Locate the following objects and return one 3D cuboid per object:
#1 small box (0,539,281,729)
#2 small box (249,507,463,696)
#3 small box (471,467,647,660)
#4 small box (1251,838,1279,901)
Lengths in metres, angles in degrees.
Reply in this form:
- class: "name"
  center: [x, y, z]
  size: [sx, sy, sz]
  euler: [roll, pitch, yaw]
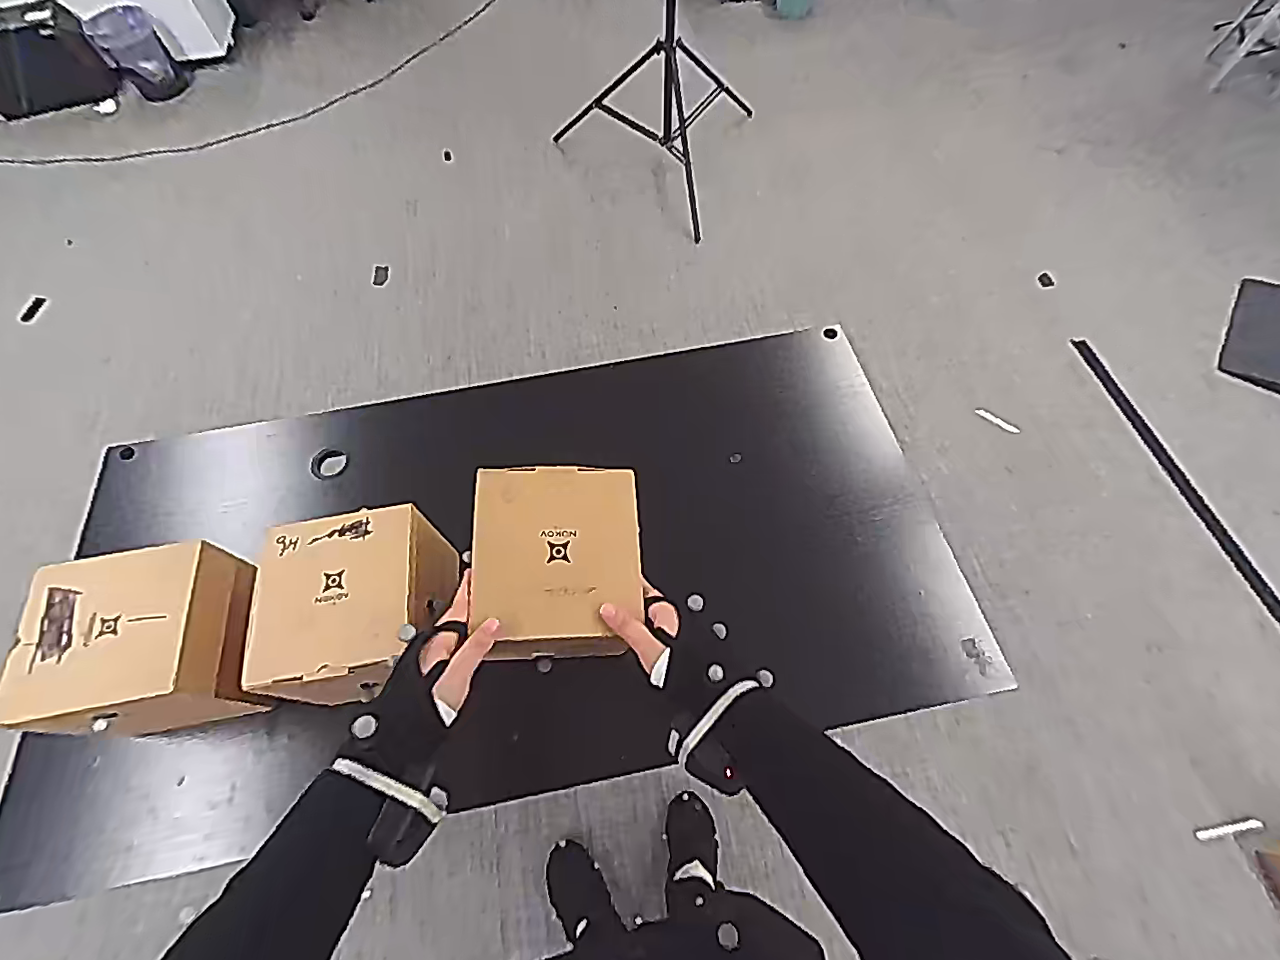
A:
- class: "small box"
  center: [-0.550, 0.188, 0.636]
  size: [0.179, 0.176, 0.168]
  euler: [-10, 63, -4]
- class: "small box"
  center: [-0.319, 0.154, 0.648]
  size: [0.168, 0.176, 0.179]
  euler: [-9, 63, -3]
- class: "small box"
  center: [-0.092, 0.100, 0.605]
  size: [0.168, 0.176, 0.179]
  euler: [1, 67, -11]
- class: "small box"
  center: [1.416, 0.824, 1.072]
  size: [0.168, 0.176, 0.179]
  euler: [-11, 63, -4]
